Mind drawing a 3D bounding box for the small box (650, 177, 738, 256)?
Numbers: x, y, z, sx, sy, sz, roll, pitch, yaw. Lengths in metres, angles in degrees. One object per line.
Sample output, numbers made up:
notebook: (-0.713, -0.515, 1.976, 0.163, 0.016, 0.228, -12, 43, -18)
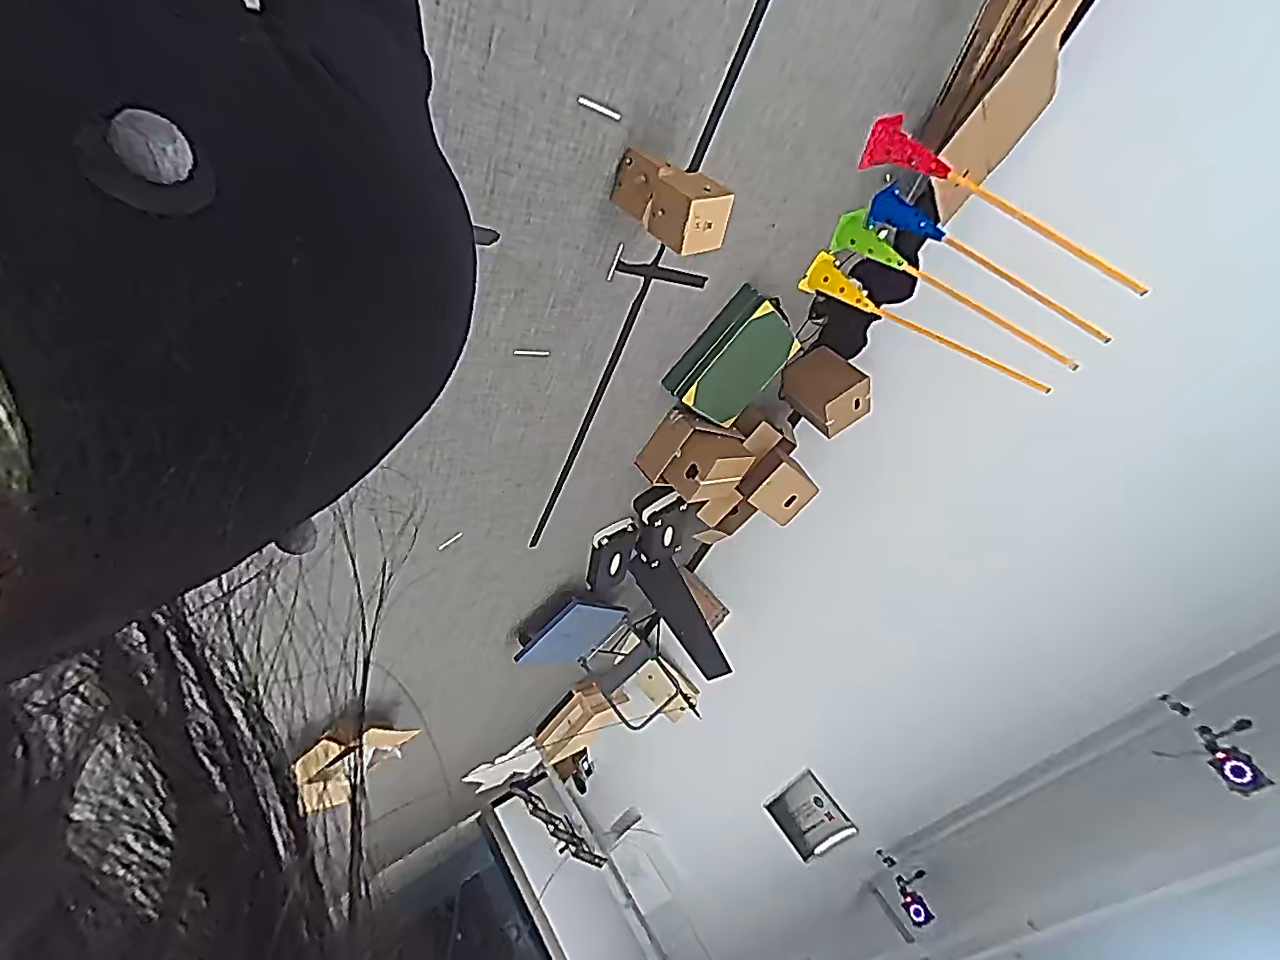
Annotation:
small box: (0.159, -0.805, 1.645, 0.179, 0.176, 0.168, -20, 144, -31)

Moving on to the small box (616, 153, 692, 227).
small box: (0.053, -0.910, 1.716, 0.179, 0.176, 0.168, -13, 141, -43)
